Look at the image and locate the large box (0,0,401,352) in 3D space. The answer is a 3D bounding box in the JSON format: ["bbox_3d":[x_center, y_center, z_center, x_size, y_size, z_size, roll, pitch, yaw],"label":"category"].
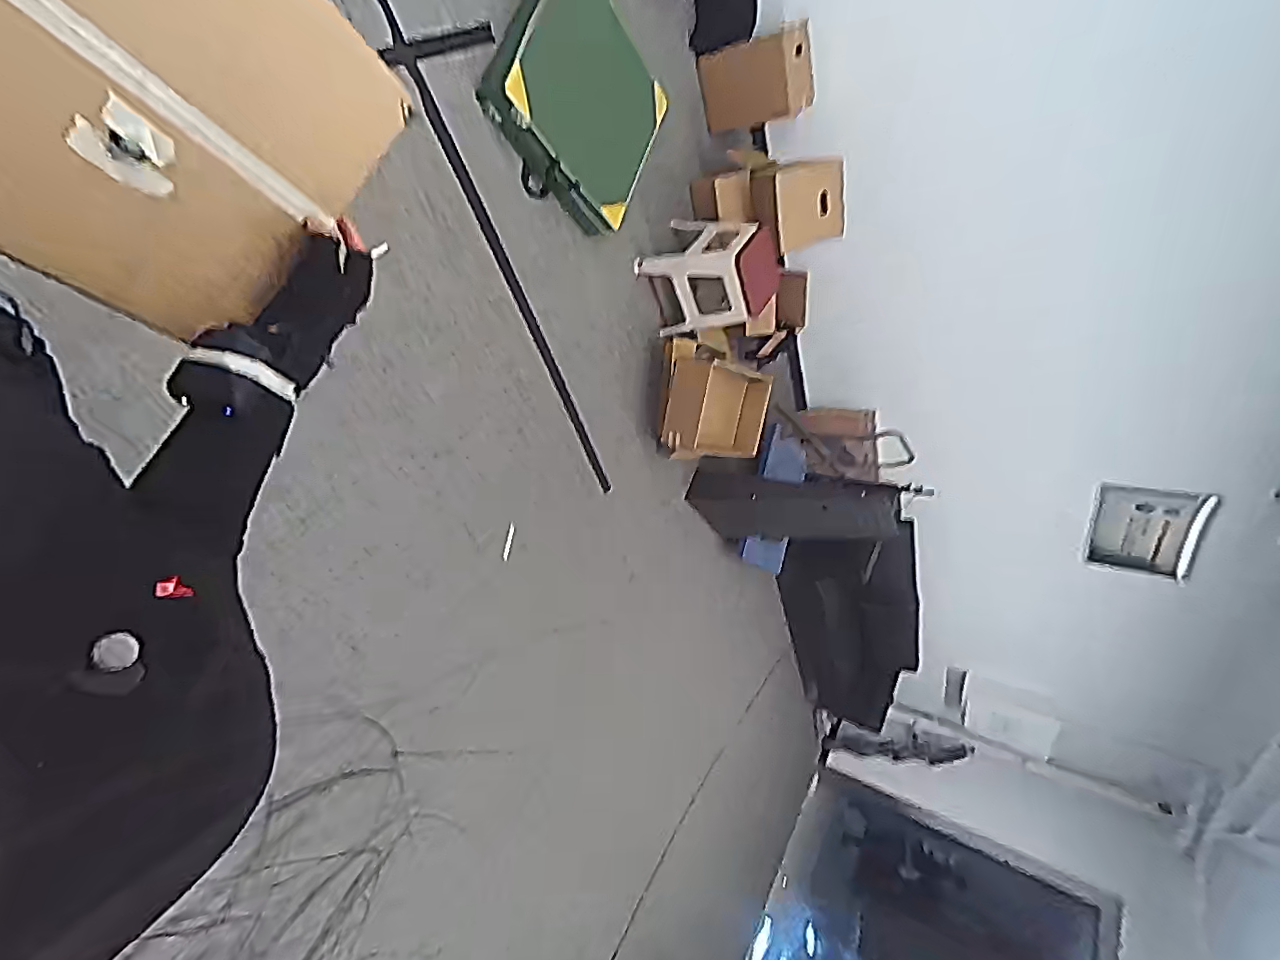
[{"bbox_3d":[-0.511,-0.369,0.444,0.320,0.320,0.408,-60,146,-5],"label":"large box"}]
